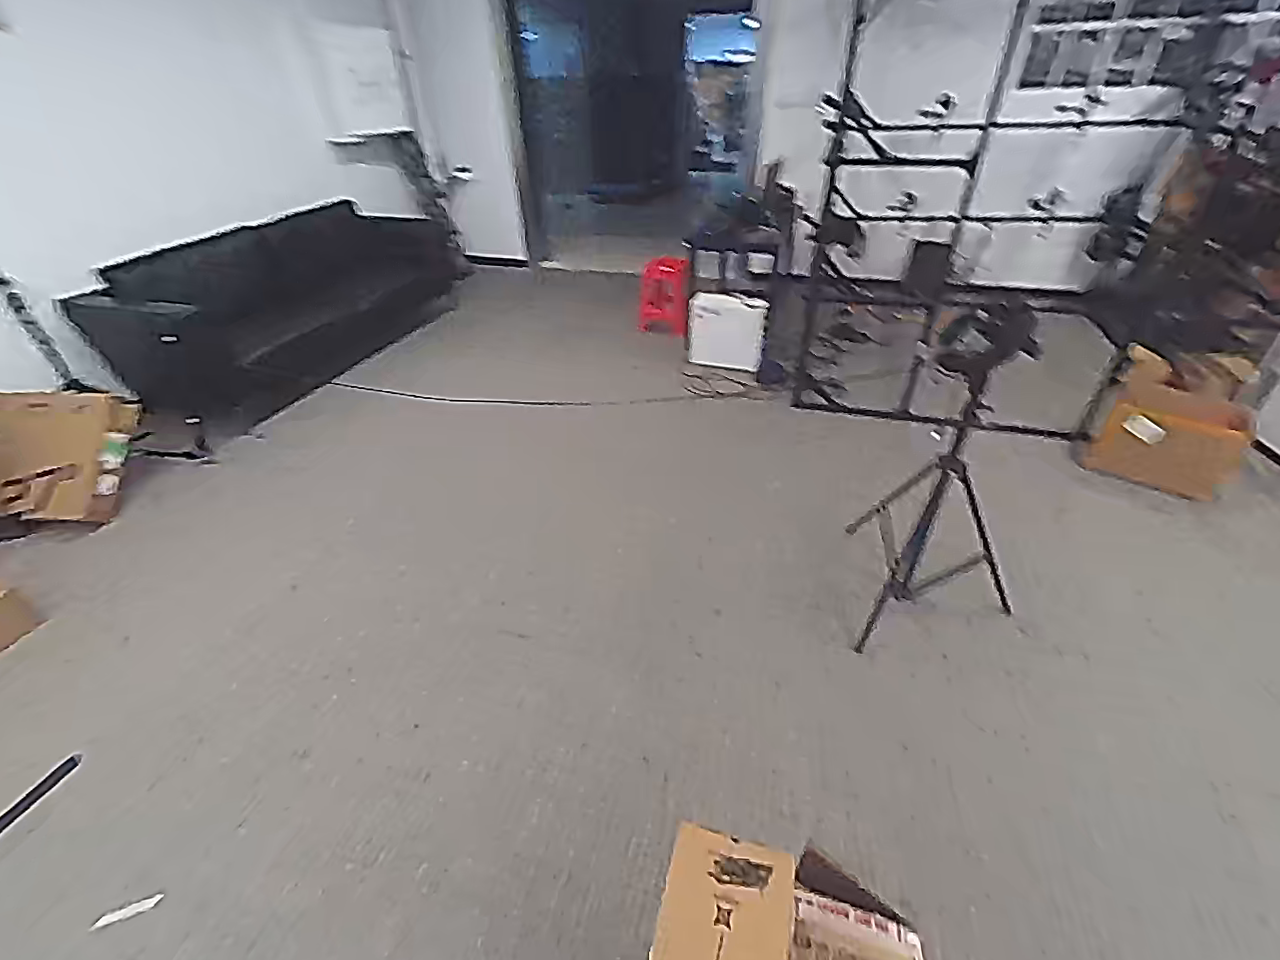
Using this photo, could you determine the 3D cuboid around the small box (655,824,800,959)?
[{"bbox_3d":[0.124,0.629,0.754,0.168,0.176,0.179,7,40,17],"label":"small box"}]
